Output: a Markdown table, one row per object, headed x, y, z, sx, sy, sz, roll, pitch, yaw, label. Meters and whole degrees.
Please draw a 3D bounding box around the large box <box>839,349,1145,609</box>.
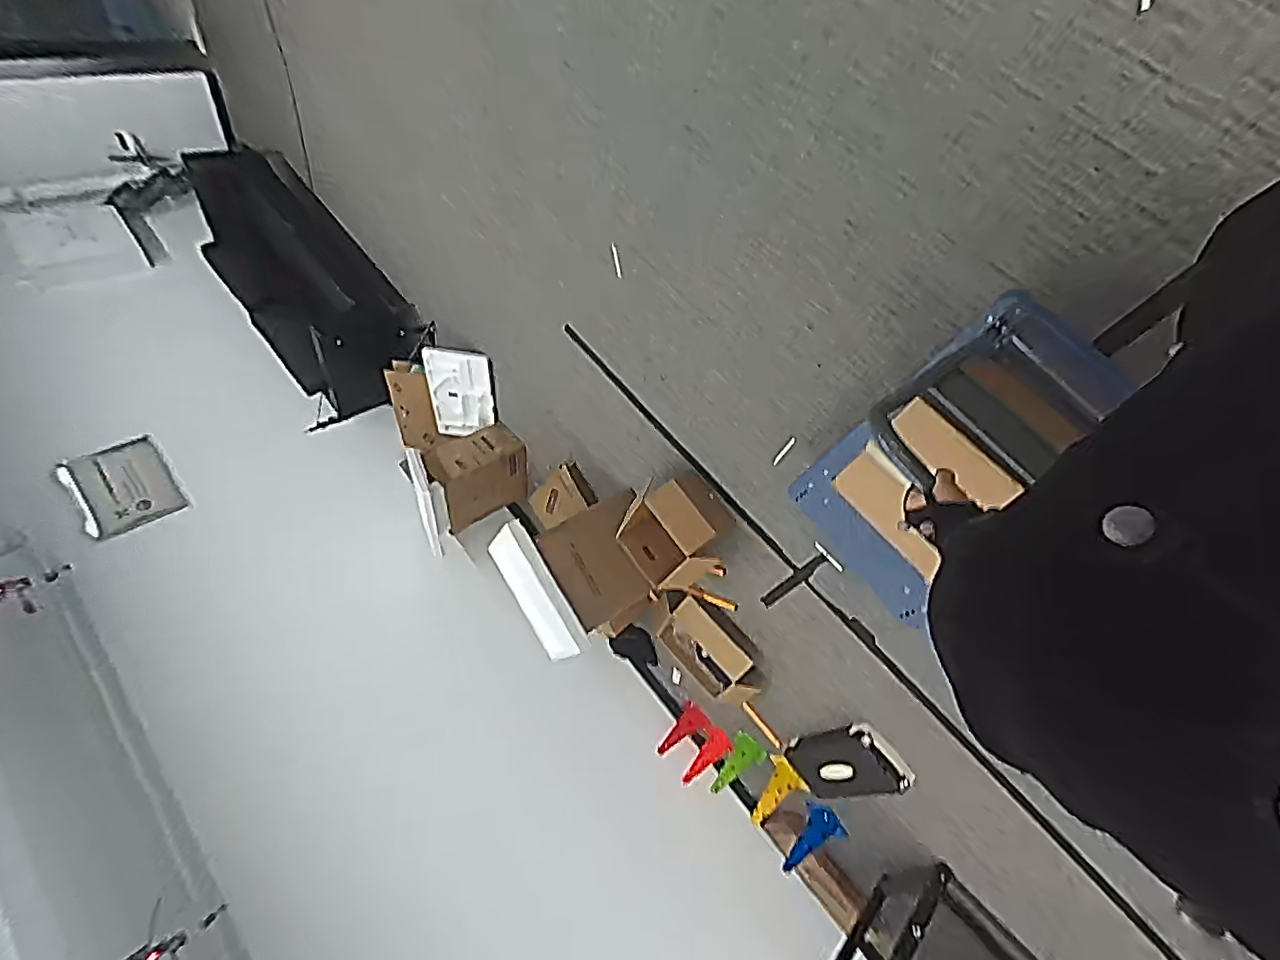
| x | y | z | sx | sy | sz | roll | pitch | yaw | label |
| --- | --- | --- | --- | --- | --- | --- | --- | --- | --- |
| 0.739 | -0.008 | 1.173 | 0.408 | 0.320 | 0.320 | 49 | 146 | 17 | large box |
